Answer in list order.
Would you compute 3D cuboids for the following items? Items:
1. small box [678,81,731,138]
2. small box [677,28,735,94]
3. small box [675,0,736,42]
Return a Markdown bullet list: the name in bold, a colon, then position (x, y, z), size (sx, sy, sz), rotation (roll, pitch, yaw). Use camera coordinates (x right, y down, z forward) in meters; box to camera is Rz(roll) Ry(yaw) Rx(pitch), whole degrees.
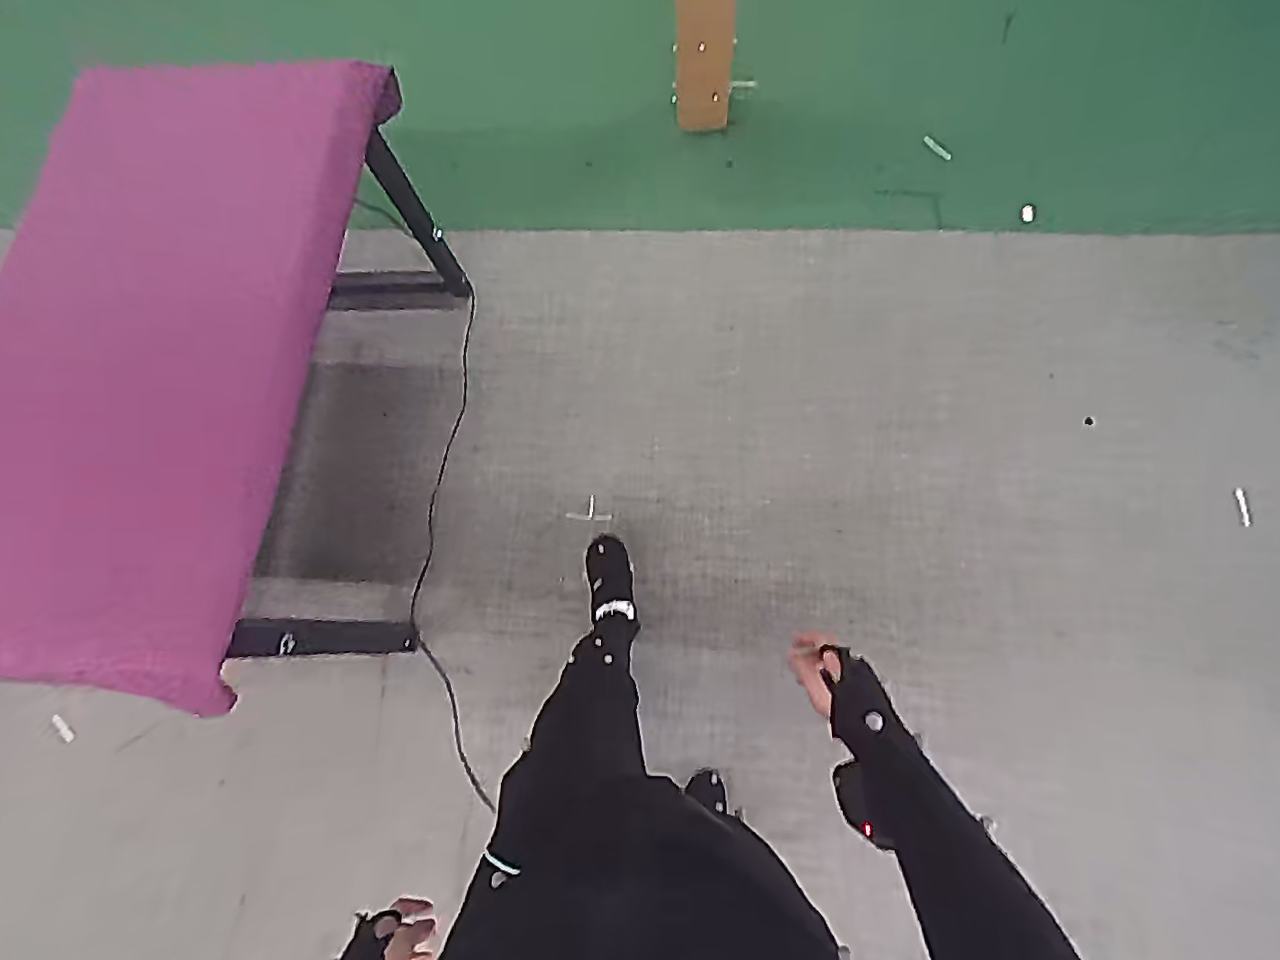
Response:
- **small box**: position (0.221, -1.332, 1.891), size (0.179, 0.176, 0.168), rotation (-1, 72, 4)
- **small box**: position (0.209, -1.379, 1.737), size (0.179, 0.176, 0.168), rotation (0, 73, 5)
- **small box**: position (0.189, -1.426, 1.581), size (0.179, 0.176, 0.168), rotation (-2, 73, 4)
